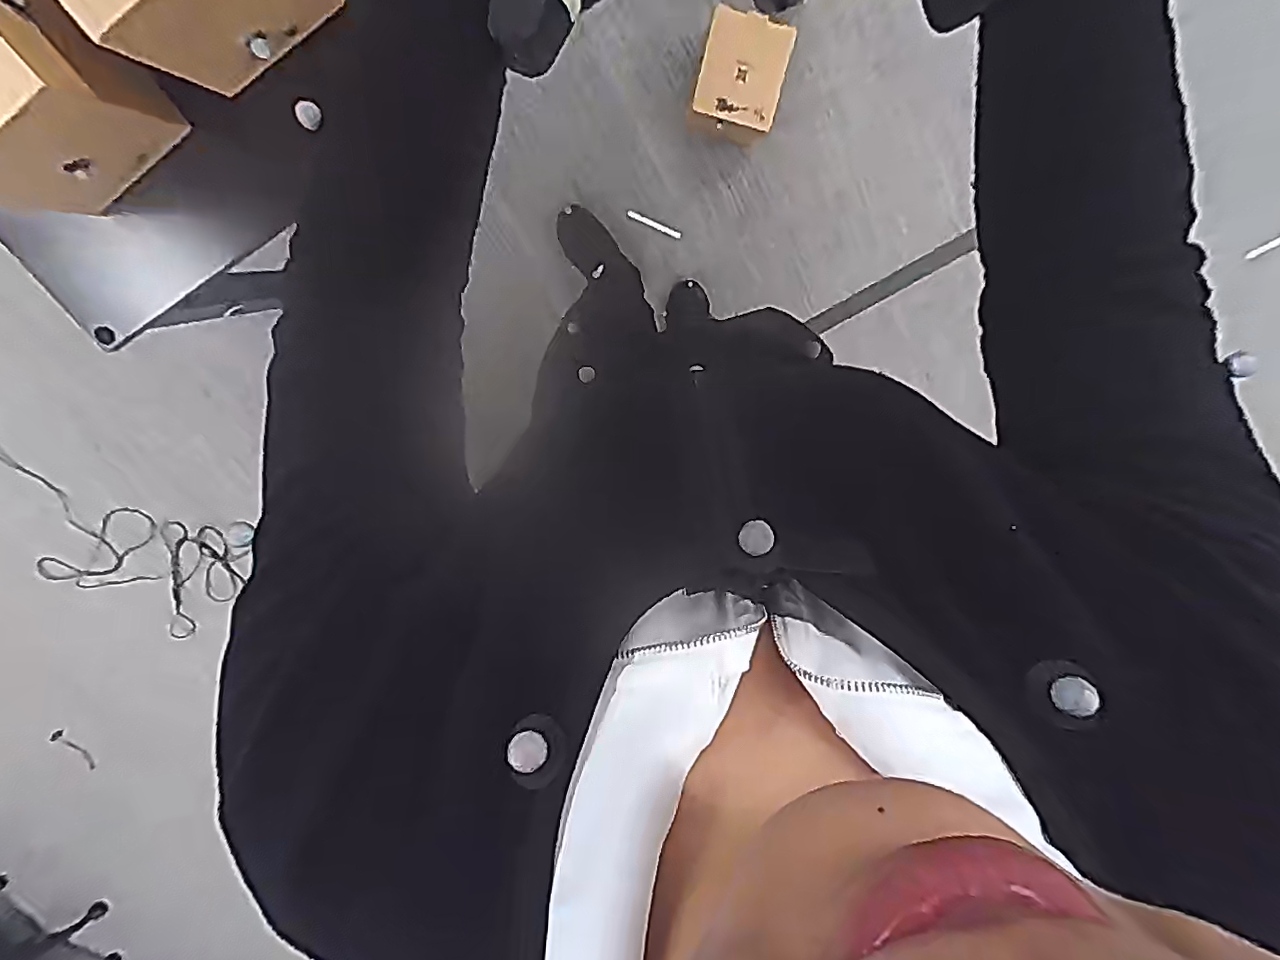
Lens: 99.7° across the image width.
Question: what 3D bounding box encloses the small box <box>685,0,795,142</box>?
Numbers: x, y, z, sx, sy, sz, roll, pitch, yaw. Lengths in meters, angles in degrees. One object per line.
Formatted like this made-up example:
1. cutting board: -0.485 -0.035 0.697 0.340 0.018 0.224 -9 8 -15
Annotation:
1. small box: 0.196 -0.833 1.121 0.168 0.176 0.179 12 112 -6

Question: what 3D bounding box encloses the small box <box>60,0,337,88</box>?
1. small box: -0.413 -0.489 0.463 0.168 0.176 0.179 -29 111 11
